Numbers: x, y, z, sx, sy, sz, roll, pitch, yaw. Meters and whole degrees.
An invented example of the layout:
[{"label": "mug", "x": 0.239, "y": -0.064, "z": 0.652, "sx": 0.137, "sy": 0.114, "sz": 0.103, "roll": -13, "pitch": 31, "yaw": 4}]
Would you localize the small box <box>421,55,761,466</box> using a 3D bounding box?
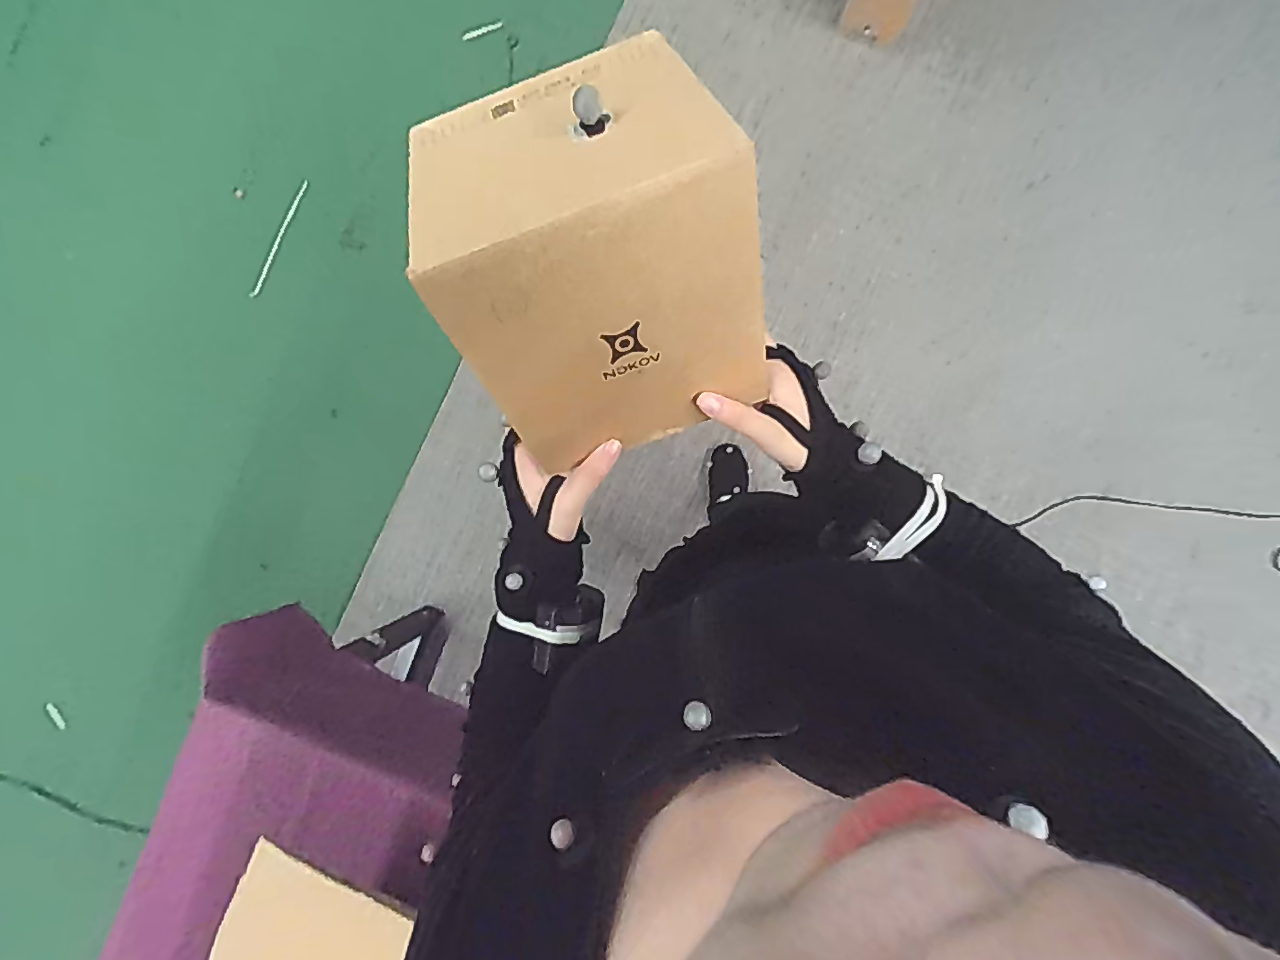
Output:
[{"label": "small box", "x": -0.030, "y": -0.144, "z": 0.362, "sx": 0.168, "sy": 0.179, "sz": 0.176, "roll": -19, "pitch": 56, "yaw": 3}]
